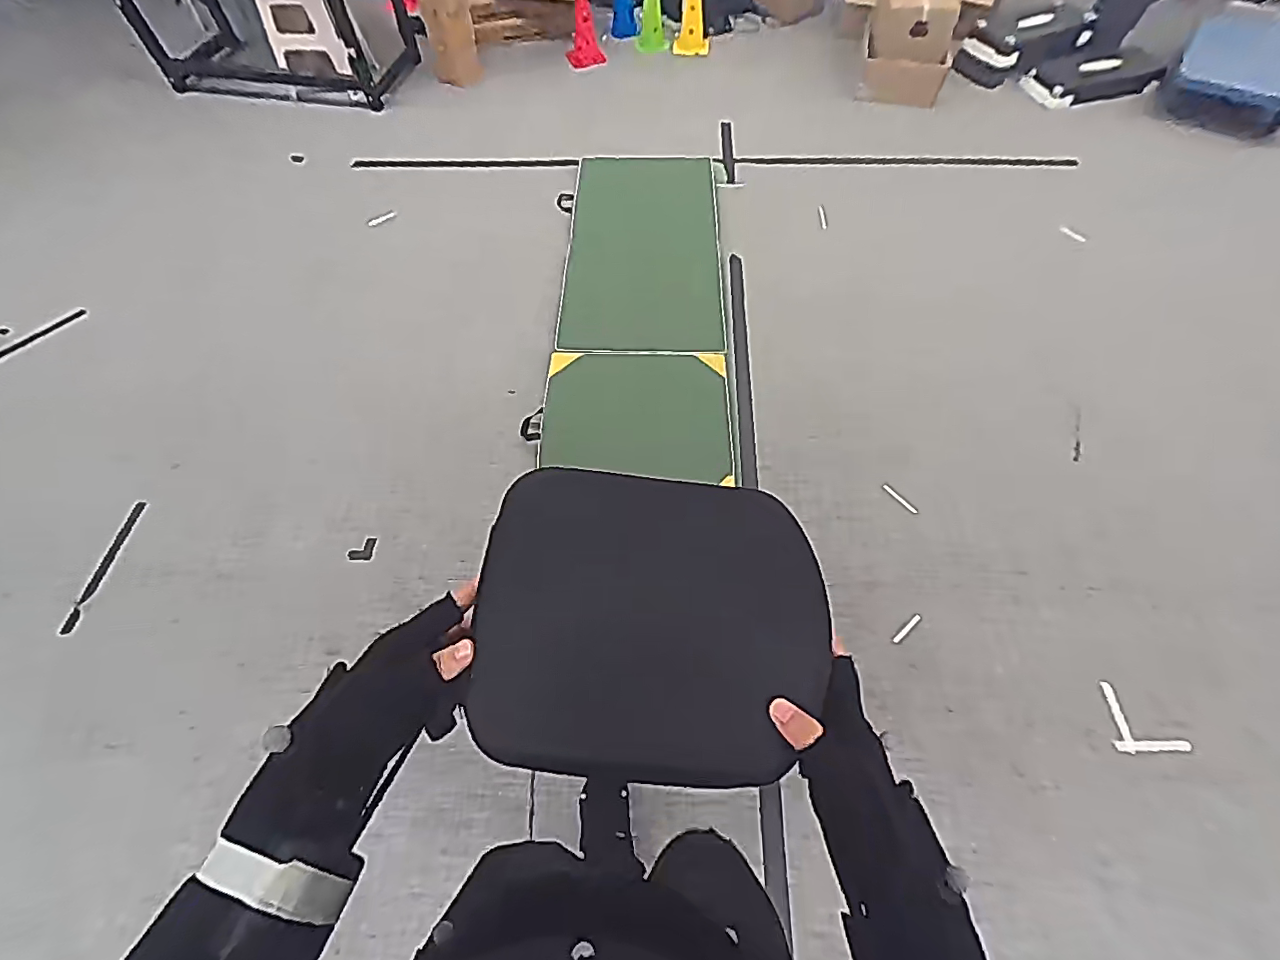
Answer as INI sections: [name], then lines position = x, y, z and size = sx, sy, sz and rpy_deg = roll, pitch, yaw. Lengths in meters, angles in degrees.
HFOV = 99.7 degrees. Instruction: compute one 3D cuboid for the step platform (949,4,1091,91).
[step platform]
position = 2.015, -2.298, 2.867
size = 0.684, 0.204, 0.286
rpy_deg = -25, 63, -13
